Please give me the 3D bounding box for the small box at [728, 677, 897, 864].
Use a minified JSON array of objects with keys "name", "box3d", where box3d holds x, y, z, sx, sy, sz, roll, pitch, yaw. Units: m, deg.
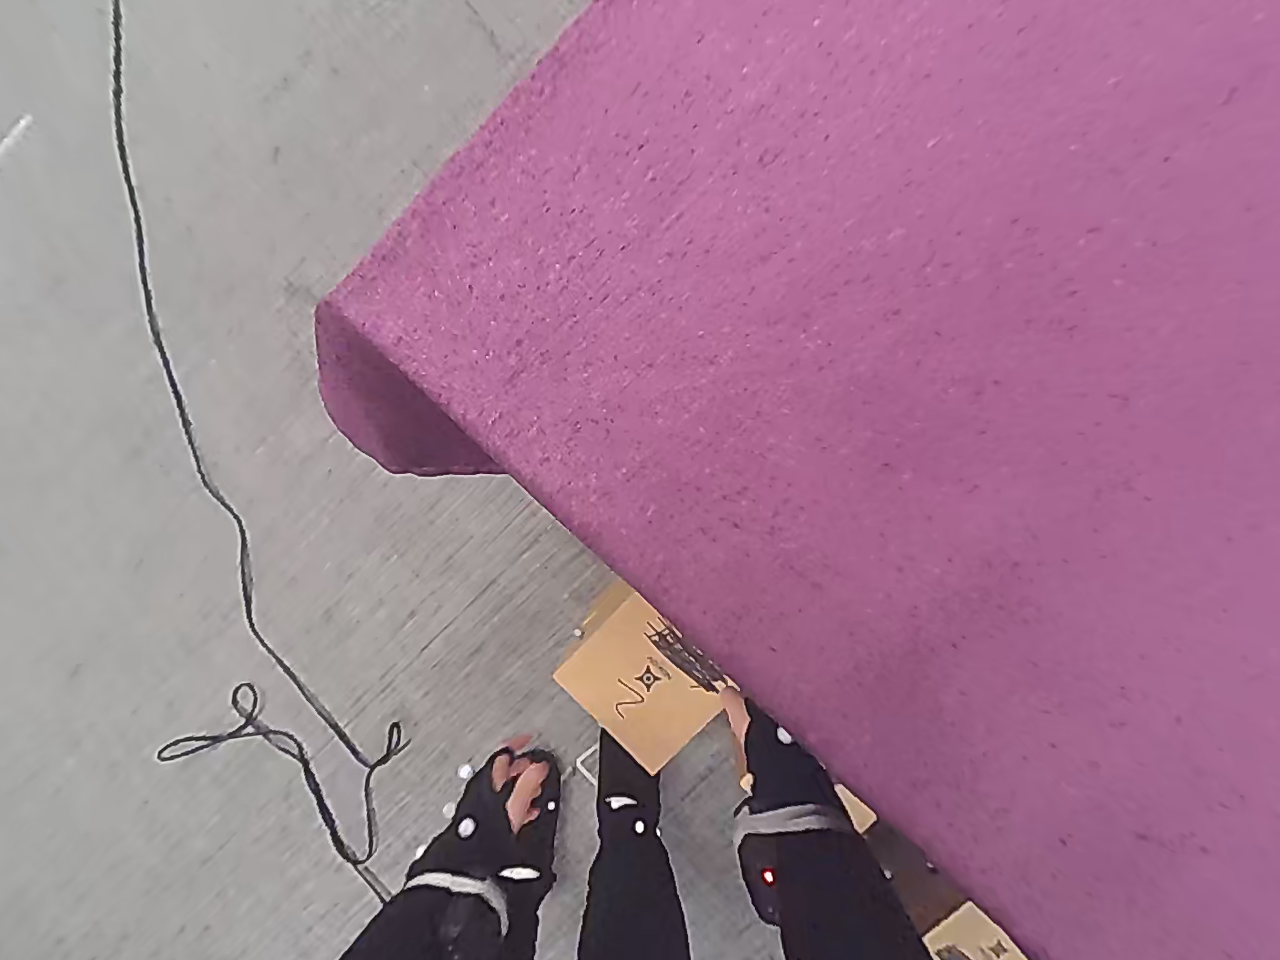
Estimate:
[{"name":"small box","box3d":[0.259,0.442,0.864,0.179,0.176,0.168,44,93,2]}]
